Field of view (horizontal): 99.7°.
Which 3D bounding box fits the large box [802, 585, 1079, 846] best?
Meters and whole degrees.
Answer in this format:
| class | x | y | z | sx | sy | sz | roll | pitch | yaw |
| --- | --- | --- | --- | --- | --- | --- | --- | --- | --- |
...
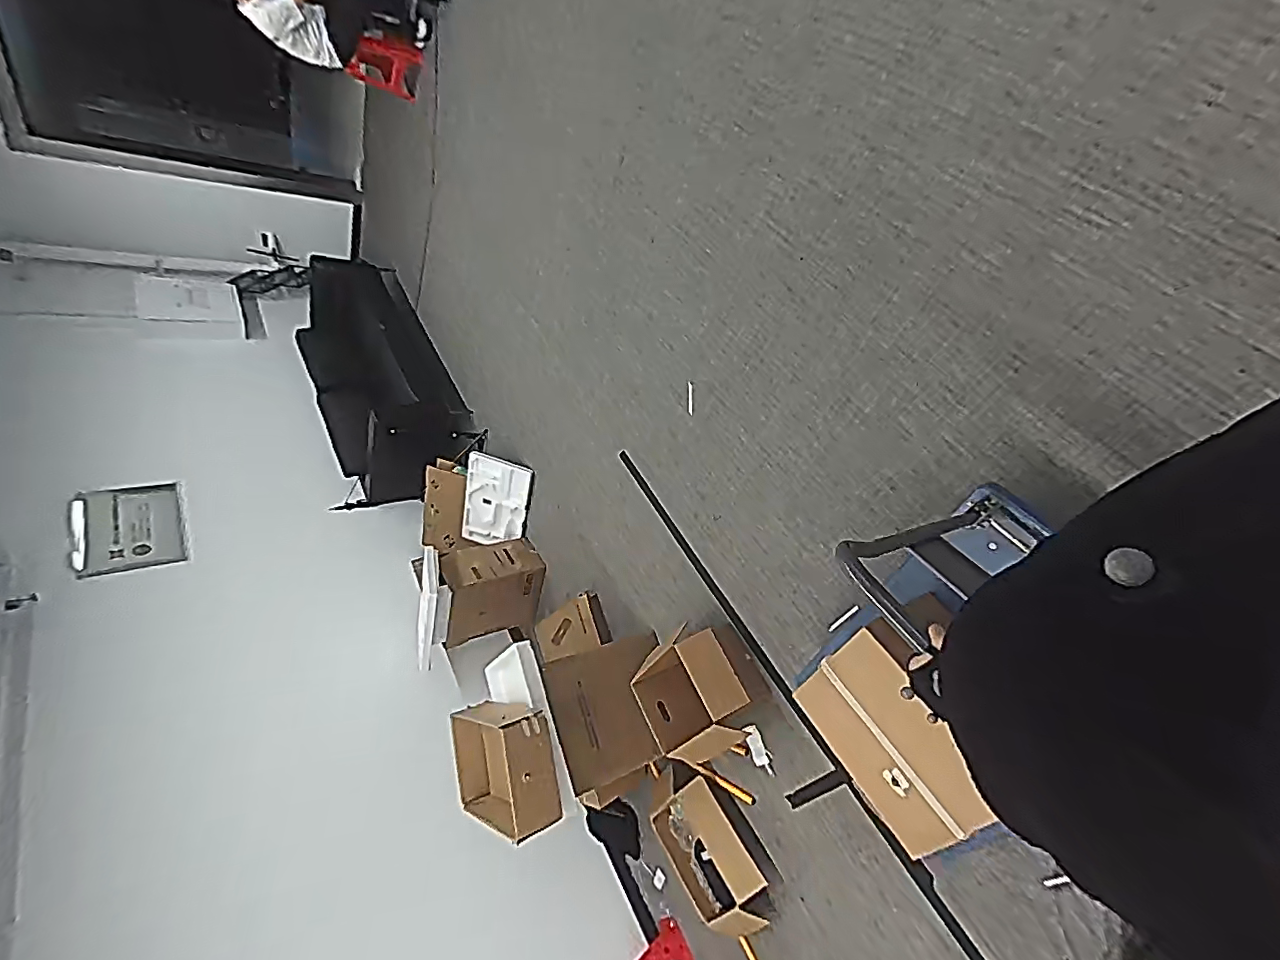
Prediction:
| class | x | y | z | sx | sy | sz | roll | pitch | yaw |
| --- | --- | --- | --- | --- | --- | --- | --- | --- | --- |
| large box | 0.674 | 0.519 | 1.254 | 0.408 | 0.320 | 0.320 | 53 | 135 | 31 |
